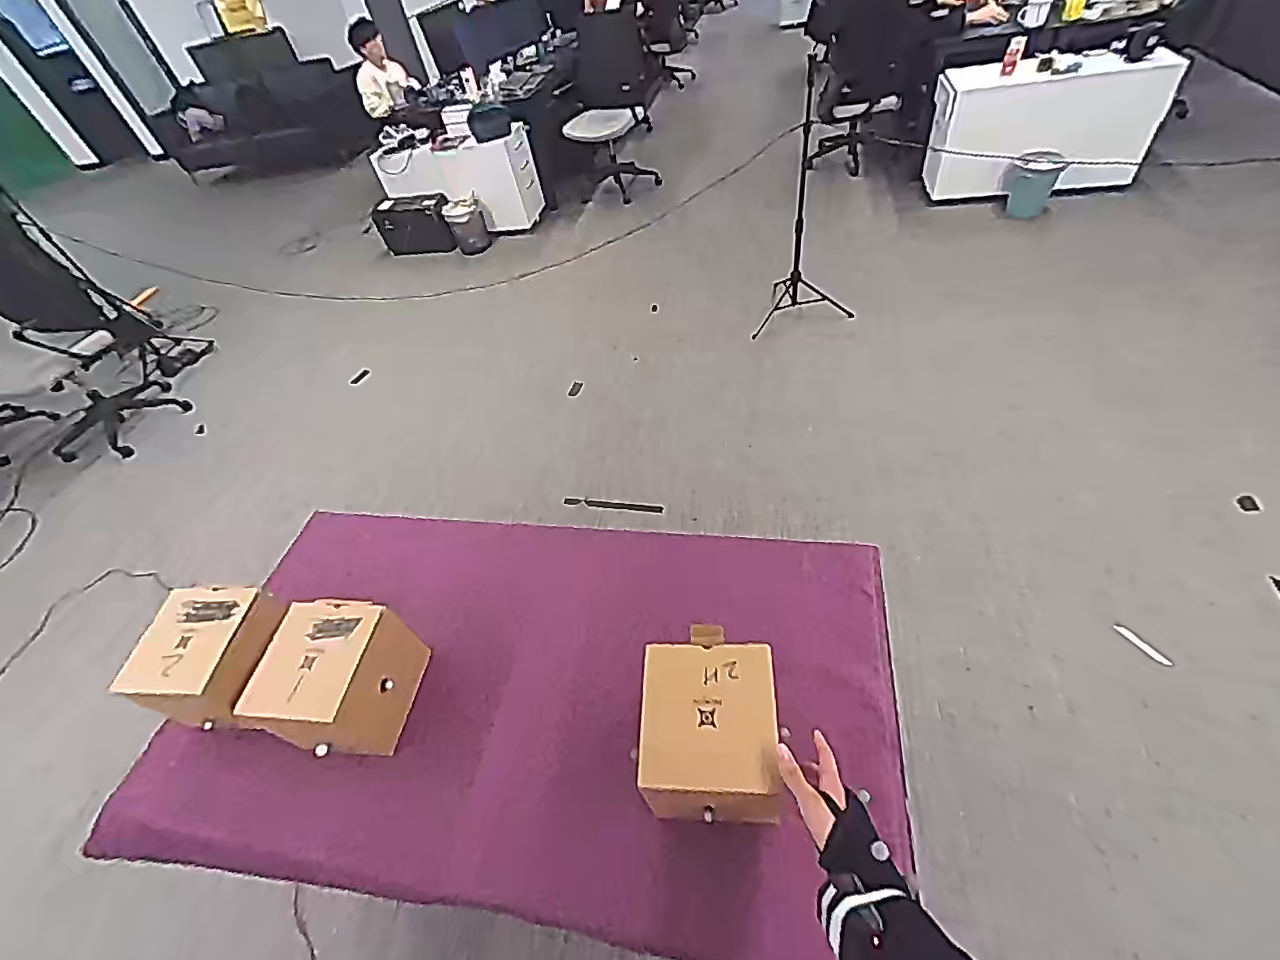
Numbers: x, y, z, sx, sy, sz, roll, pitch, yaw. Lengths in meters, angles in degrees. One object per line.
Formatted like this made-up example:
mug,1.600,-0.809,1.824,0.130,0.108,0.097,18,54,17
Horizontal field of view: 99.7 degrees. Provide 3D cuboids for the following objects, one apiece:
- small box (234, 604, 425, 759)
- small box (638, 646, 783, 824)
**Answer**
small box,-0.467,0.315,0.850,0.168,0.176,0.179,-1,49,11
small box,0.097,0.337,0.711,0.168,0.176,0.179,-3,48,10
